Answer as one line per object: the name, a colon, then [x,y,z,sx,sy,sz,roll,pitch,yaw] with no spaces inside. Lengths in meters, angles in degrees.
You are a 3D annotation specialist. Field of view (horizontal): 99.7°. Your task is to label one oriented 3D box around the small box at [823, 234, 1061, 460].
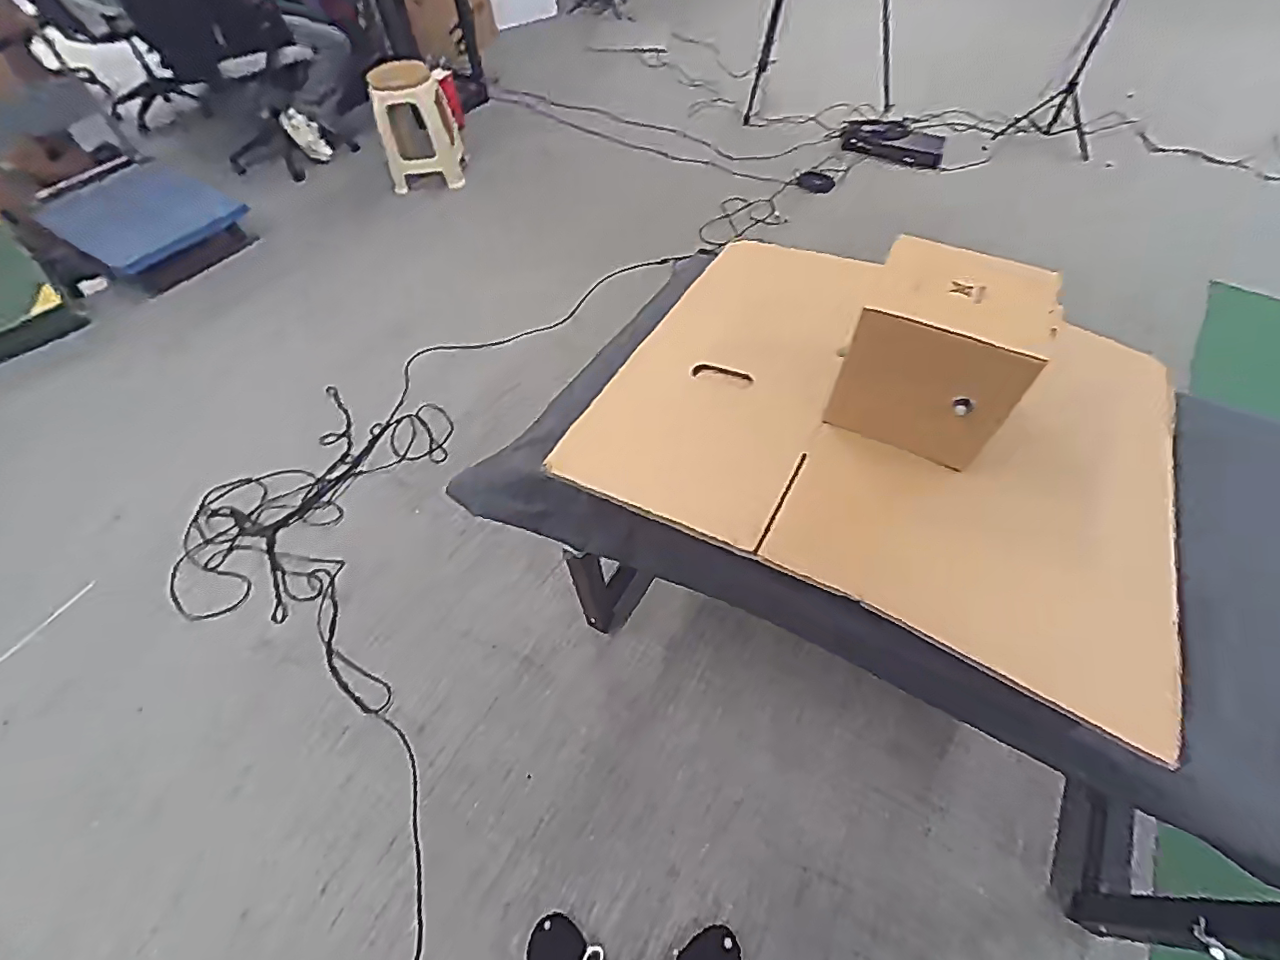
small box: [0.339,-0.148,0.627,0.179,0.176,0.168,23,56,17]
